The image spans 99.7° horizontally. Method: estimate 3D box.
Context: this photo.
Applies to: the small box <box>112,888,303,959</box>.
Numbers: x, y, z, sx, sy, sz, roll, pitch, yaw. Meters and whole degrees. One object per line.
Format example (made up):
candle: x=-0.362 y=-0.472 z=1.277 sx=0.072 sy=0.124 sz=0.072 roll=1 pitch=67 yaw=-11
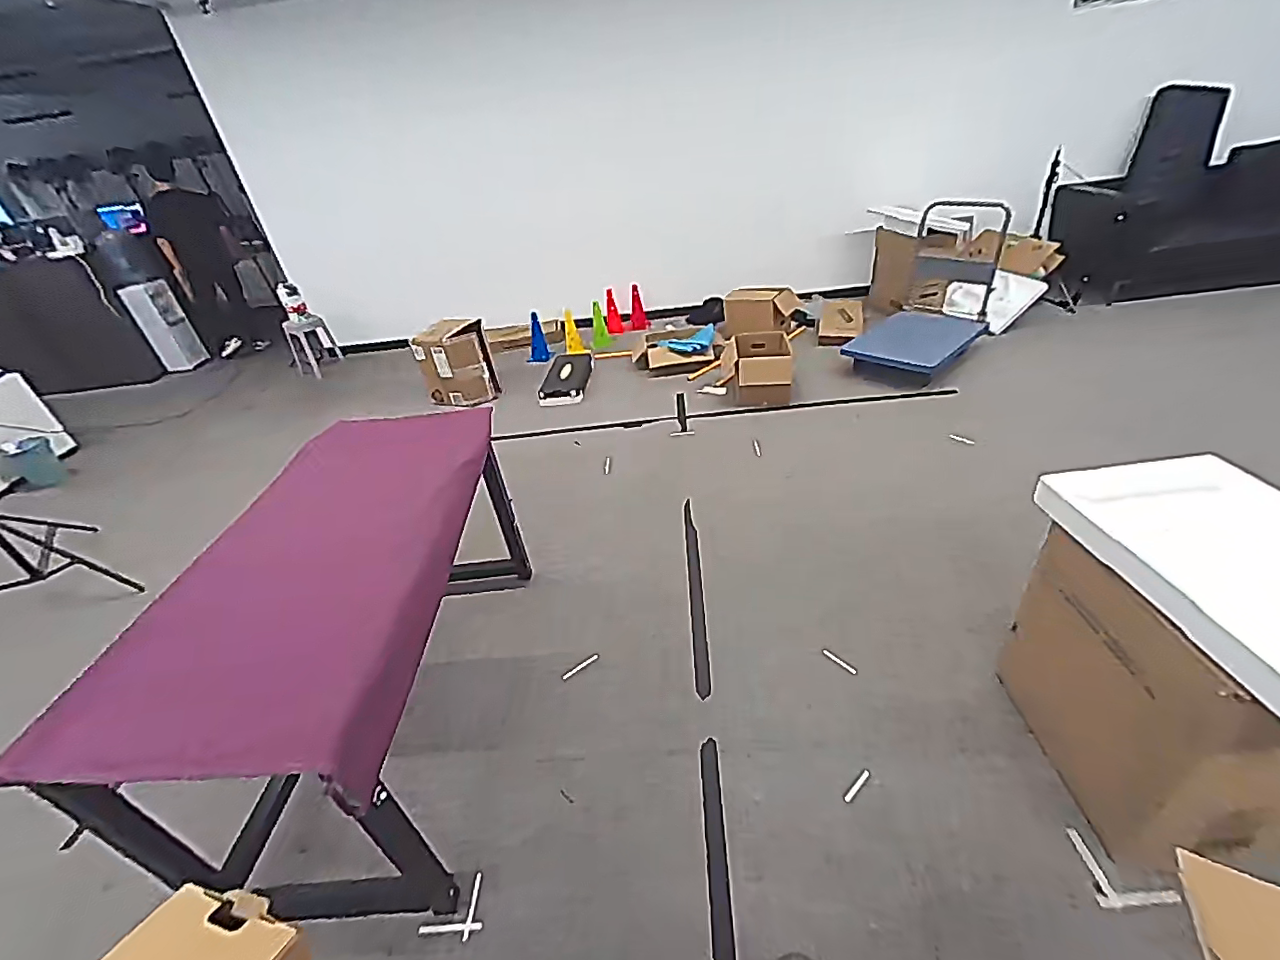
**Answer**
small box: x=-0.403 y=0.522 z=0.473 sx=0.168 sy=0.176 sz=0.179 roll=1 pitch=18 yaw=21
